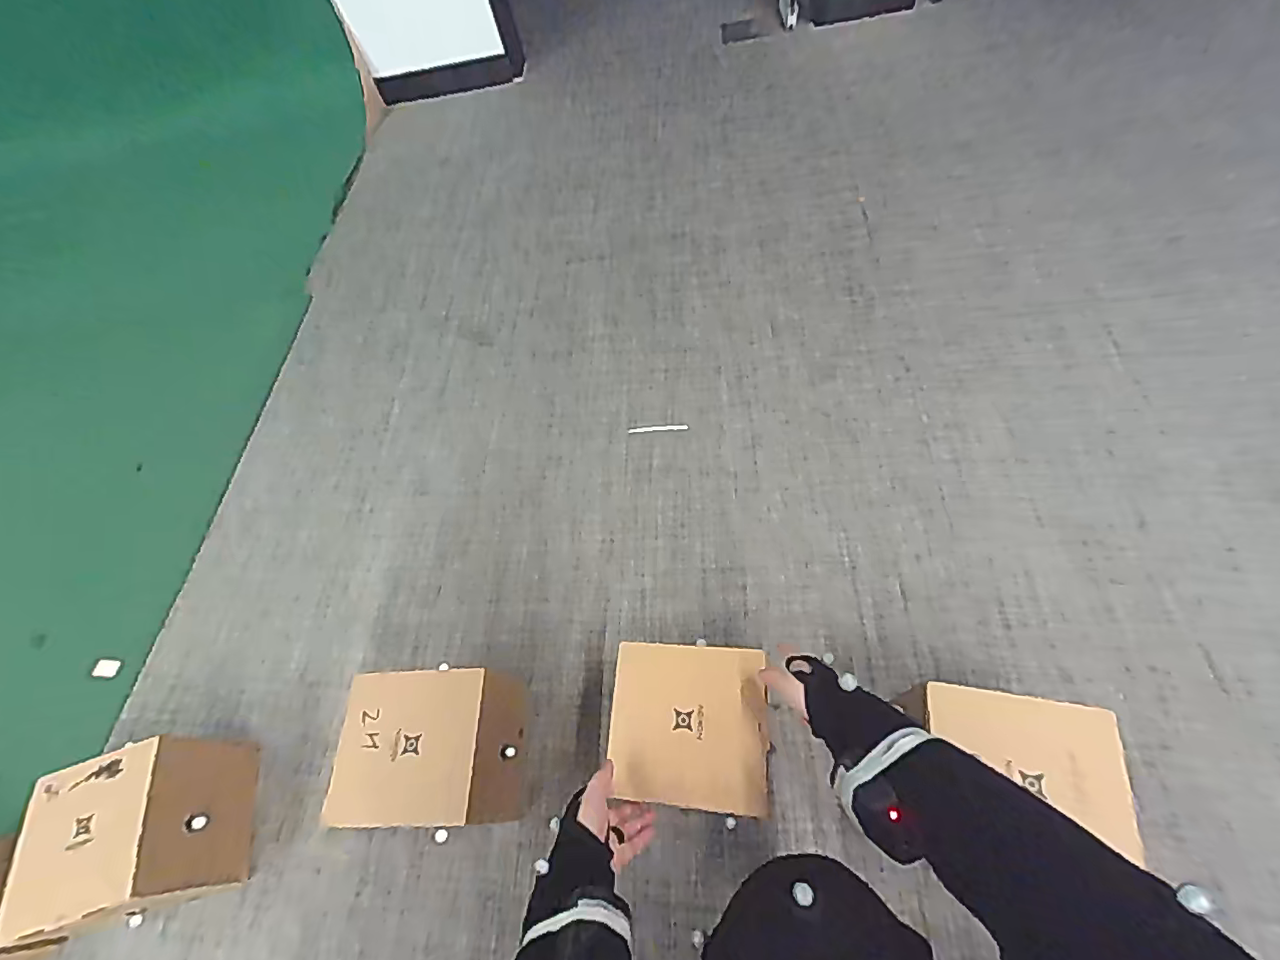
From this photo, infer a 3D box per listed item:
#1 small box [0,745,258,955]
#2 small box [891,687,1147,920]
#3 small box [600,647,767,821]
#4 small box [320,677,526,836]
[{"bbox_3d":[-0.641,0.467,0.706,0.168,0.176,0.179,-19,59,0],"label":"small box"},{"bbox_3d":[0.379,0.338,0.586,0.179,0.176,0.168,6,62,14],"label":"small box"},{"bbox_3d":[0.063,0.312,0.662,0.179,0.176,0.168,0,60,10],"label":"small box"},{"bbox_3d":[-0.259,0.355,0.696,0.179,0.176,0.168,-5,59,8],"label":"small box"}]
